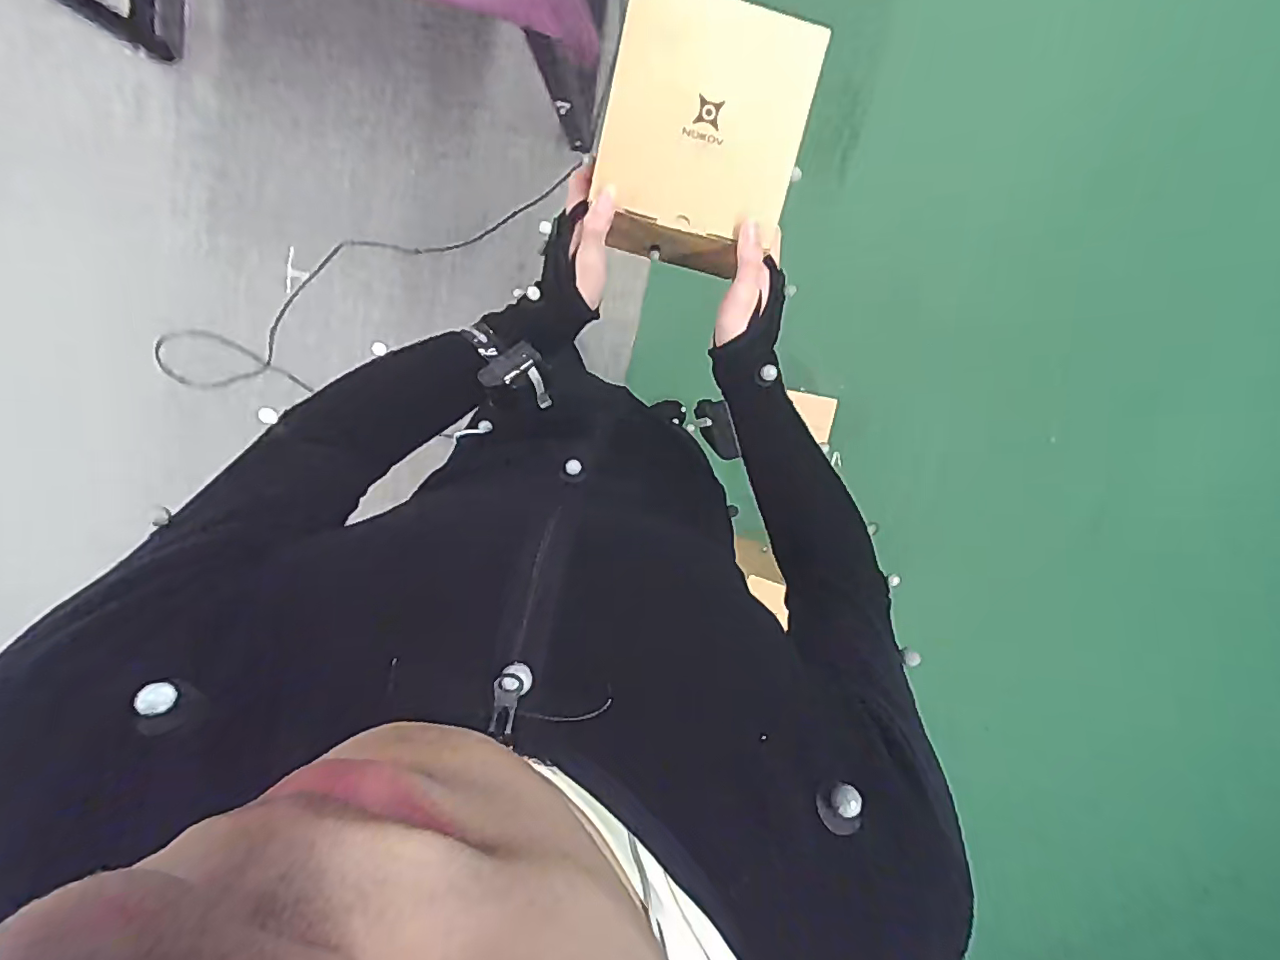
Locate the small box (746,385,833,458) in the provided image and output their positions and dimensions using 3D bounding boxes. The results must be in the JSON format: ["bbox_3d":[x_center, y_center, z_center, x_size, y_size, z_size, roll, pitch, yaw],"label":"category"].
[{"bbox_3d":[0.405,-0.166,1.499,0.179,0.176,0.168,11,102,-2],"label":"small box"}]

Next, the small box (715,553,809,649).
[{"bbox_3d":[0.315,0.313,1.435,0.179,0.176,0.168,20,102,-3],"label":"small box"}]

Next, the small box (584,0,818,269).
[{"bbox_3d":[0.043,-0.321,0.525,0.168,0.176,0.179,11,104,-6],"label":"small box"}]
